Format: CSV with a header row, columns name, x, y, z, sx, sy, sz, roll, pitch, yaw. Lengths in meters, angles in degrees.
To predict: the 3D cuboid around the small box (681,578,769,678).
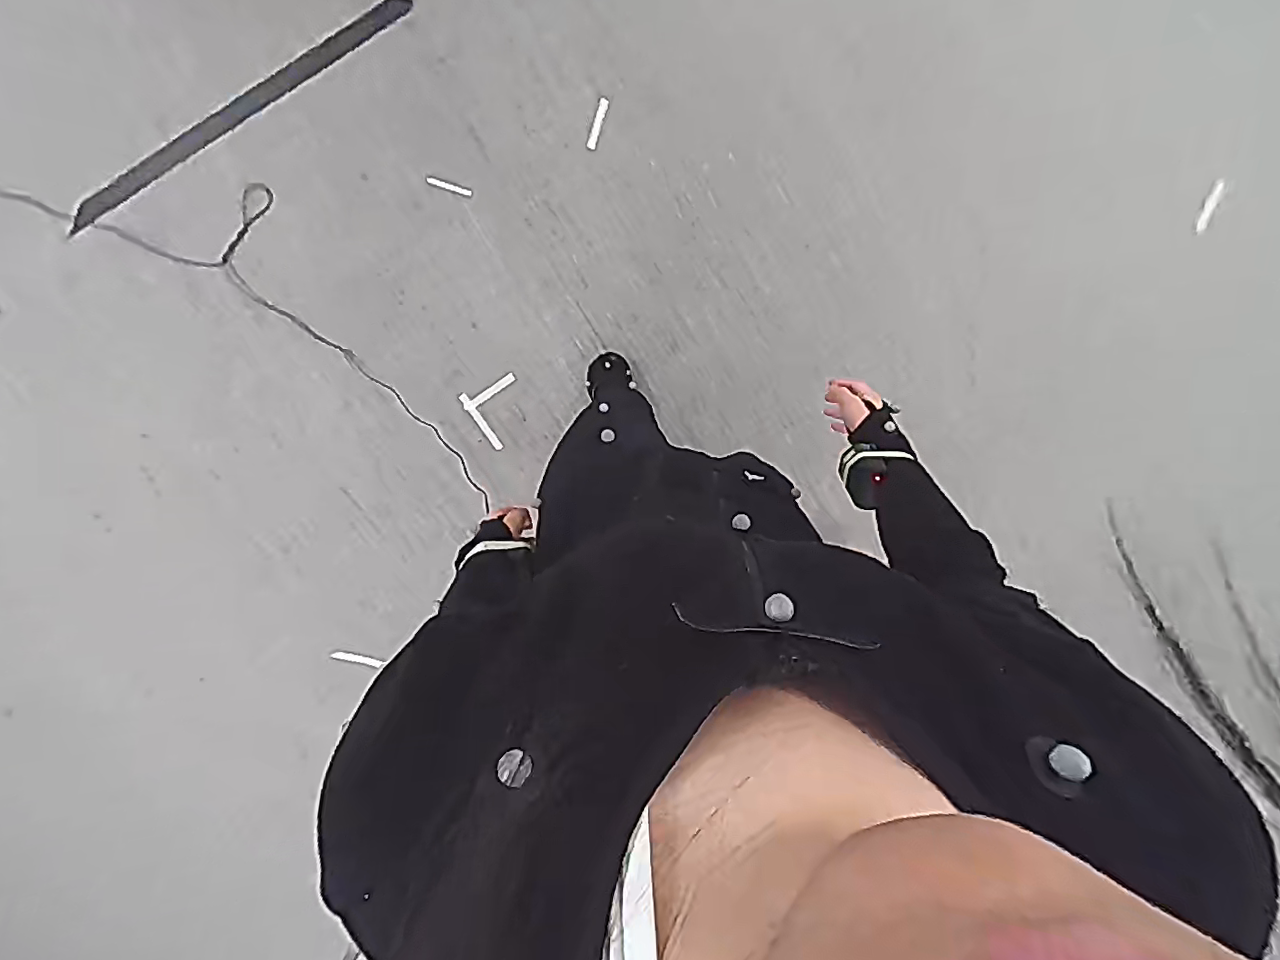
name,x,y,z,sx,sy,sz,roll,pitch,yaw
small box,0.229,0.403,1.498,0.168,0.176,0.179,-32,101,5
